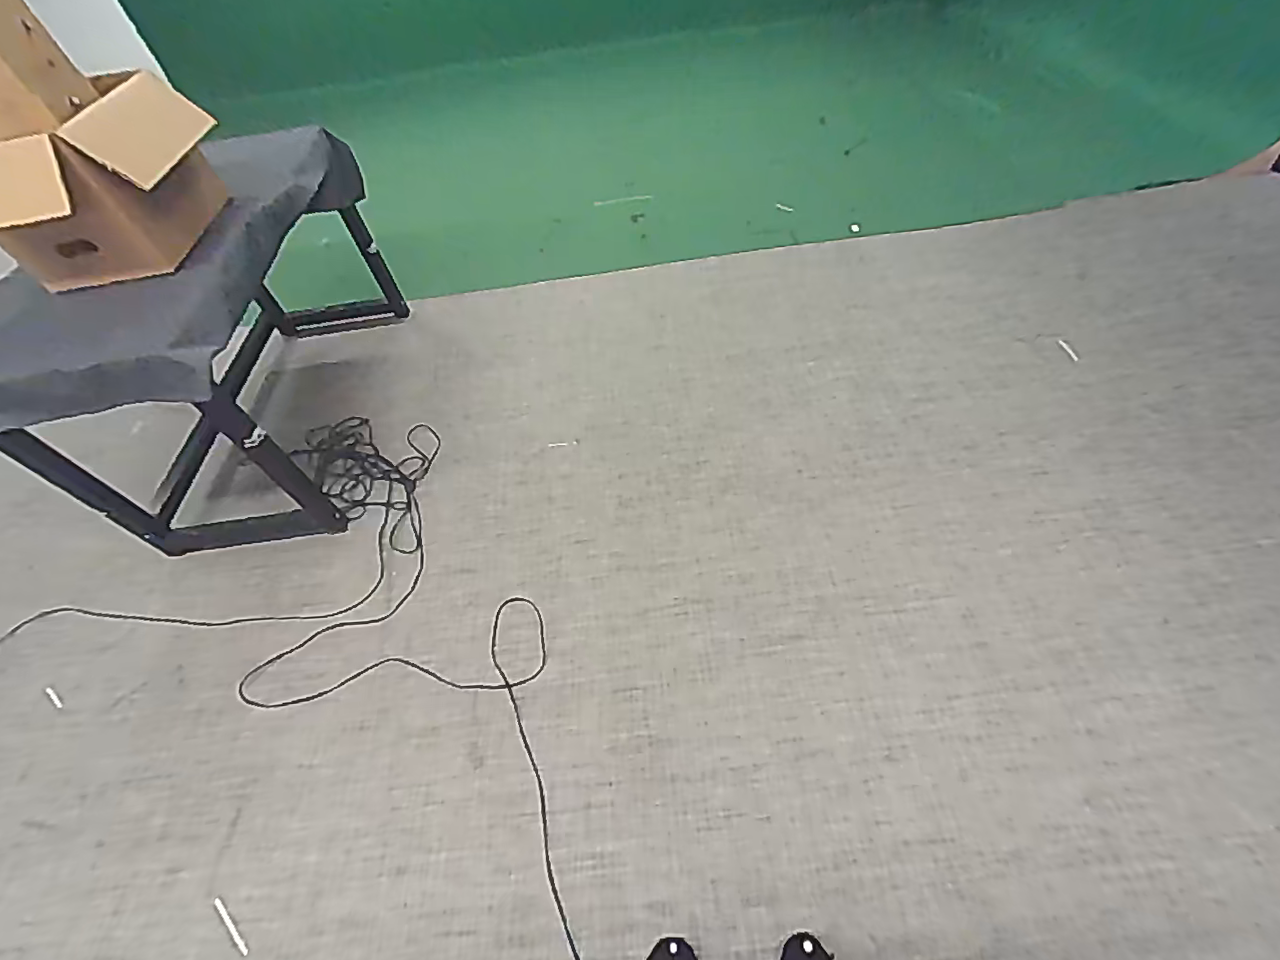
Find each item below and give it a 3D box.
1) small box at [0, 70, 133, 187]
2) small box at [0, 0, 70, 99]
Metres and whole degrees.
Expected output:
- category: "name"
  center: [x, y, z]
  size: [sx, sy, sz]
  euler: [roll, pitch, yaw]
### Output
- category: "small box"
  center: [-1.321, -0.794, 1.226]
  size: [0.168, 0.176, 0.179]
  euler: [-9, 52, 1]
- category: "small box"
  center: [-1.347, -0.890, 1.098]
  size: [0.179, 0.176, 0.168]
  euler: [-8, 51, 3]
